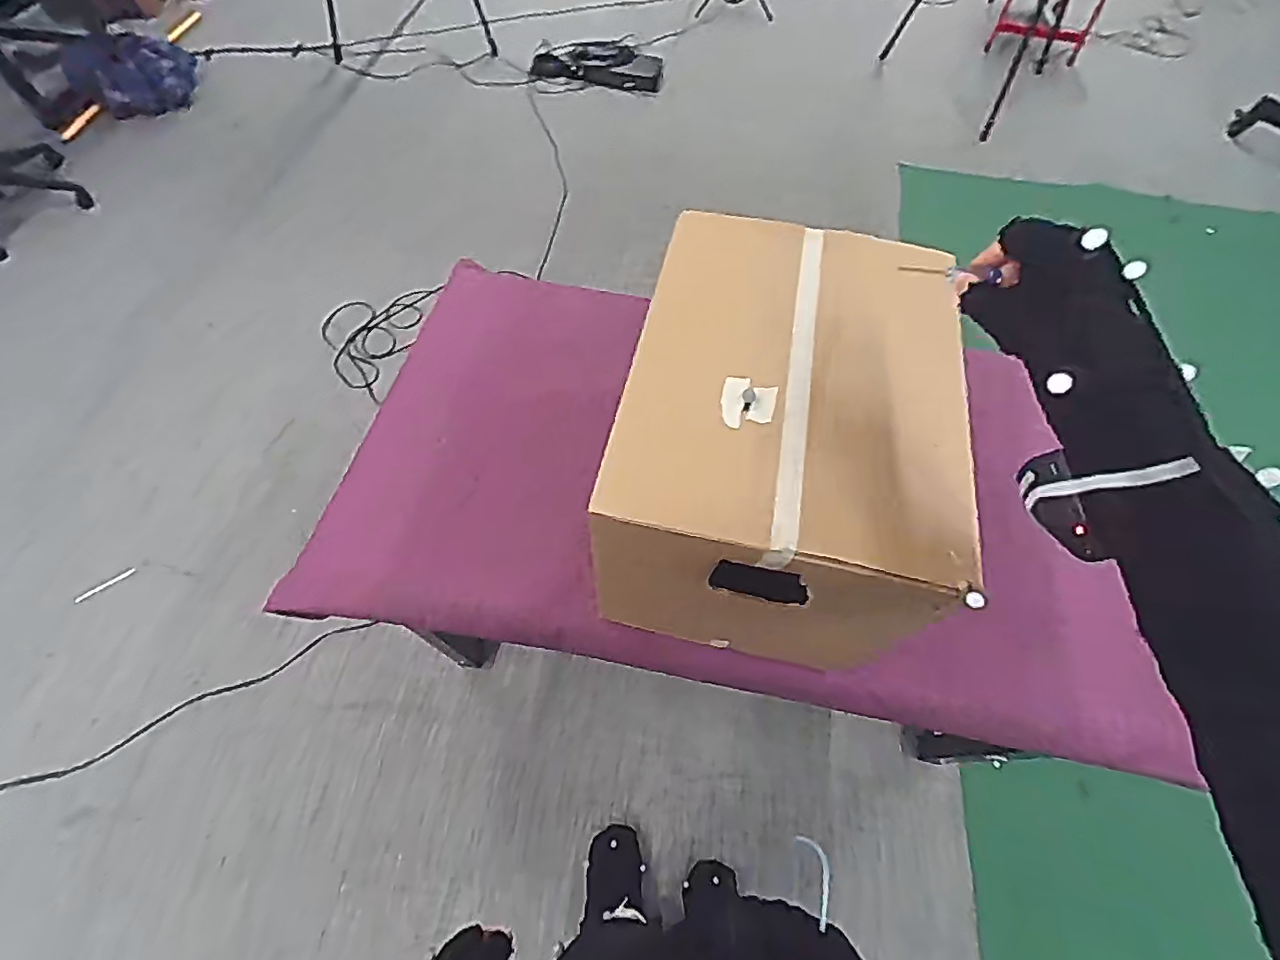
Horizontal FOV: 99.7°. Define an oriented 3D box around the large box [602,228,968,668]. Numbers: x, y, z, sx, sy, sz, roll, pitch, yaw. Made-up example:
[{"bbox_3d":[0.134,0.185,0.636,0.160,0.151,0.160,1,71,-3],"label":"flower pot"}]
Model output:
[{"bbox_3d":[0.150,-0.029,0.667,0.320,0.320,0.408,12,61,5],"label":"large box"}]
